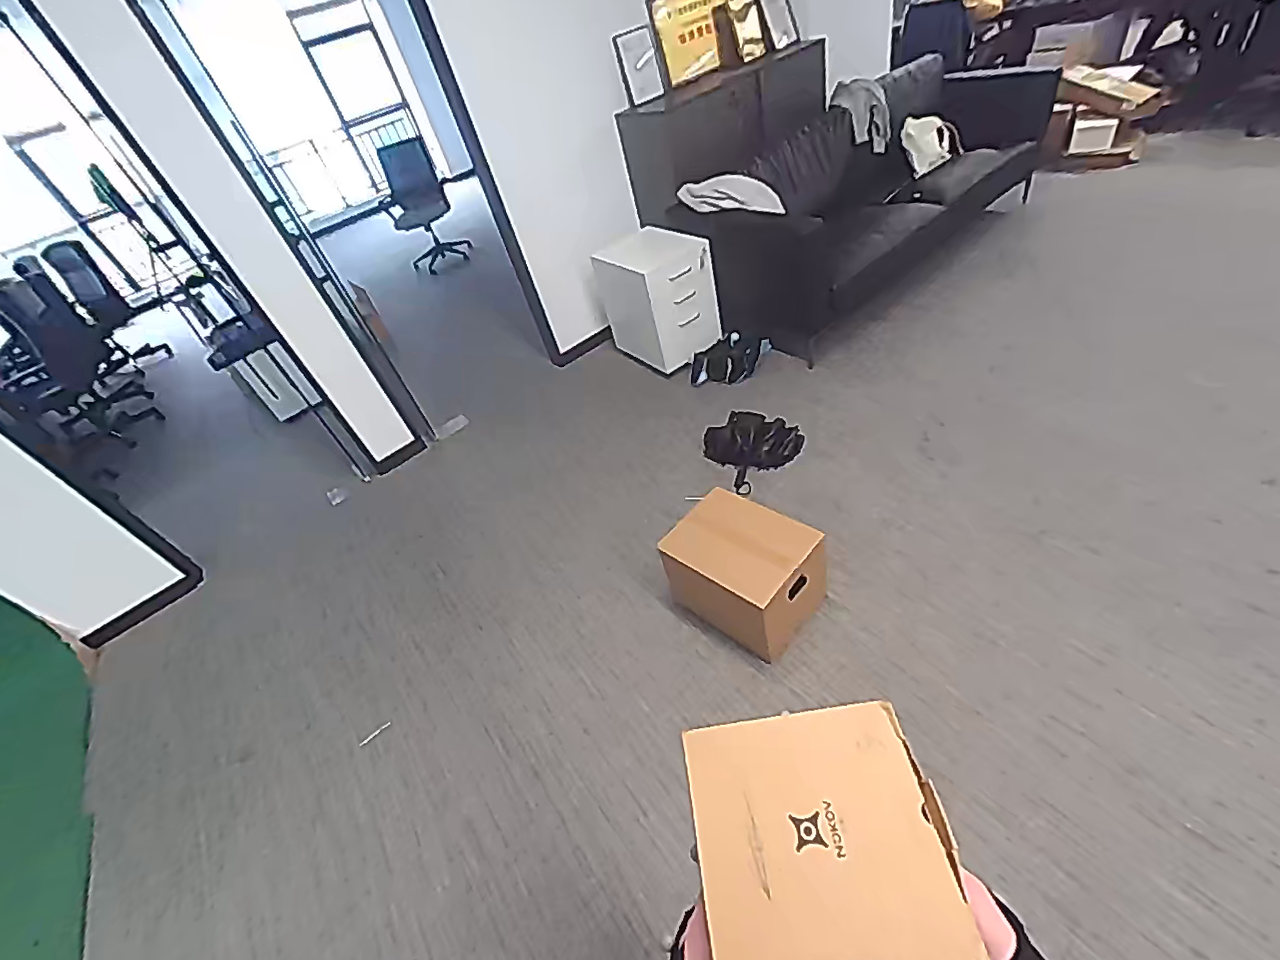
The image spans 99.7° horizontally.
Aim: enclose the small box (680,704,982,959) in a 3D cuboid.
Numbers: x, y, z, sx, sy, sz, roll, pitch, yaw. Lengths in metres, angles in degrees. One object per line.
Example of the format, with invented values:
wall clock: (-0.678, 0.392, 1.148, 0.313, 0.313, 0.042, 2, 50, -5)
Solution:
small box: (0.140, 0.311, 0.457, 0.179, 0.176, 0.168, -12, 47, 5)
